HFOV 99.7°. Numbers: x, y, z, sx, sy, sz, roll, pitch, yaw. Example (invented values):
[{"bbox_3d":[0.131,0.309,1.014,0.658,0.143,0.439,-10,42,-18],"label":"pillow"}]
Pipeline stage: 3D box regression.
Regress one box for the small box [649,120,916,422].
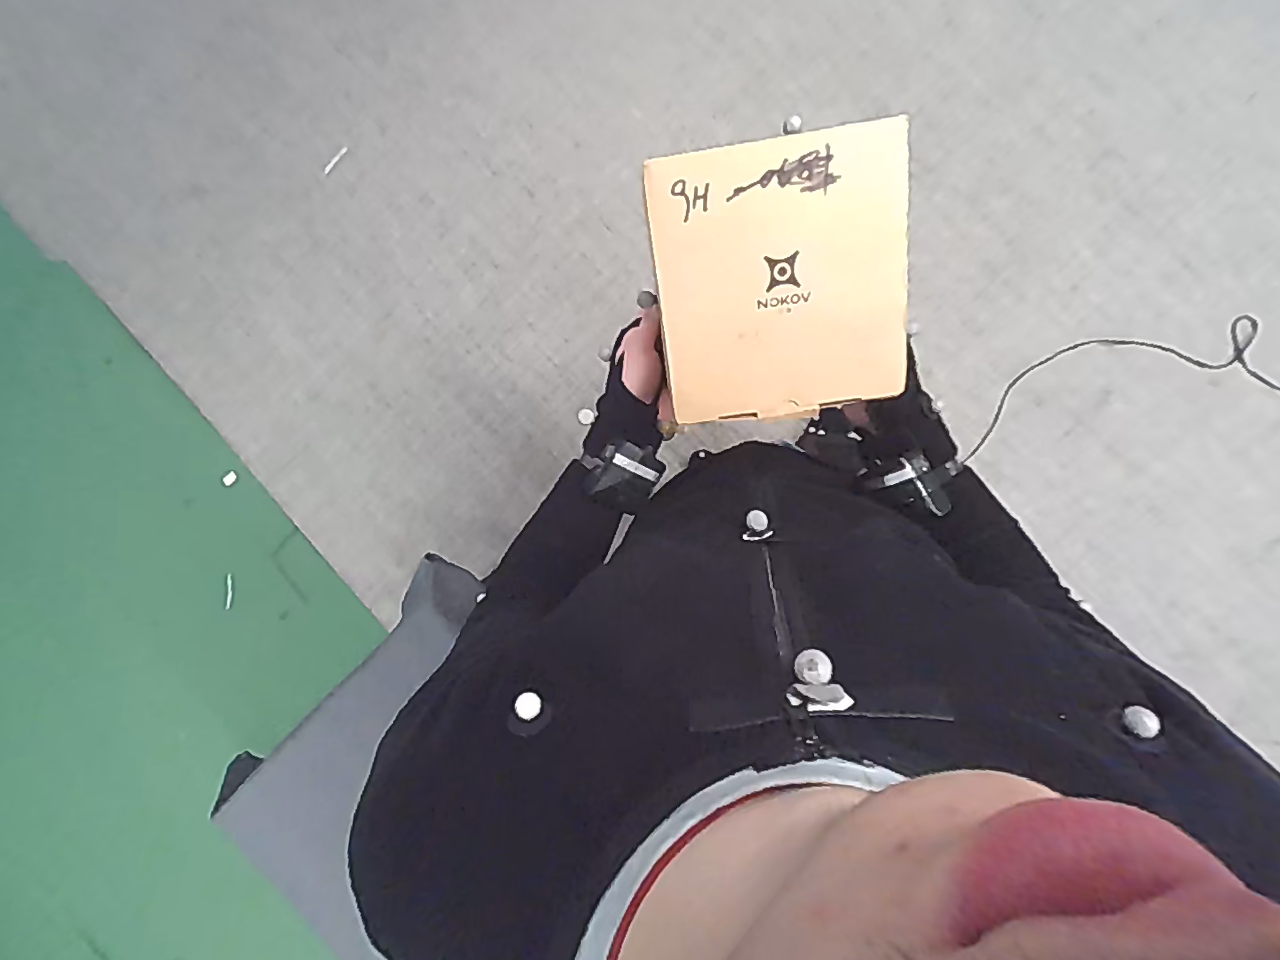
[{"bbox_3d":[0.099,-0.161,0.438,0.168,0.176,0.179,-8,111,3],"label":"small box"}]
